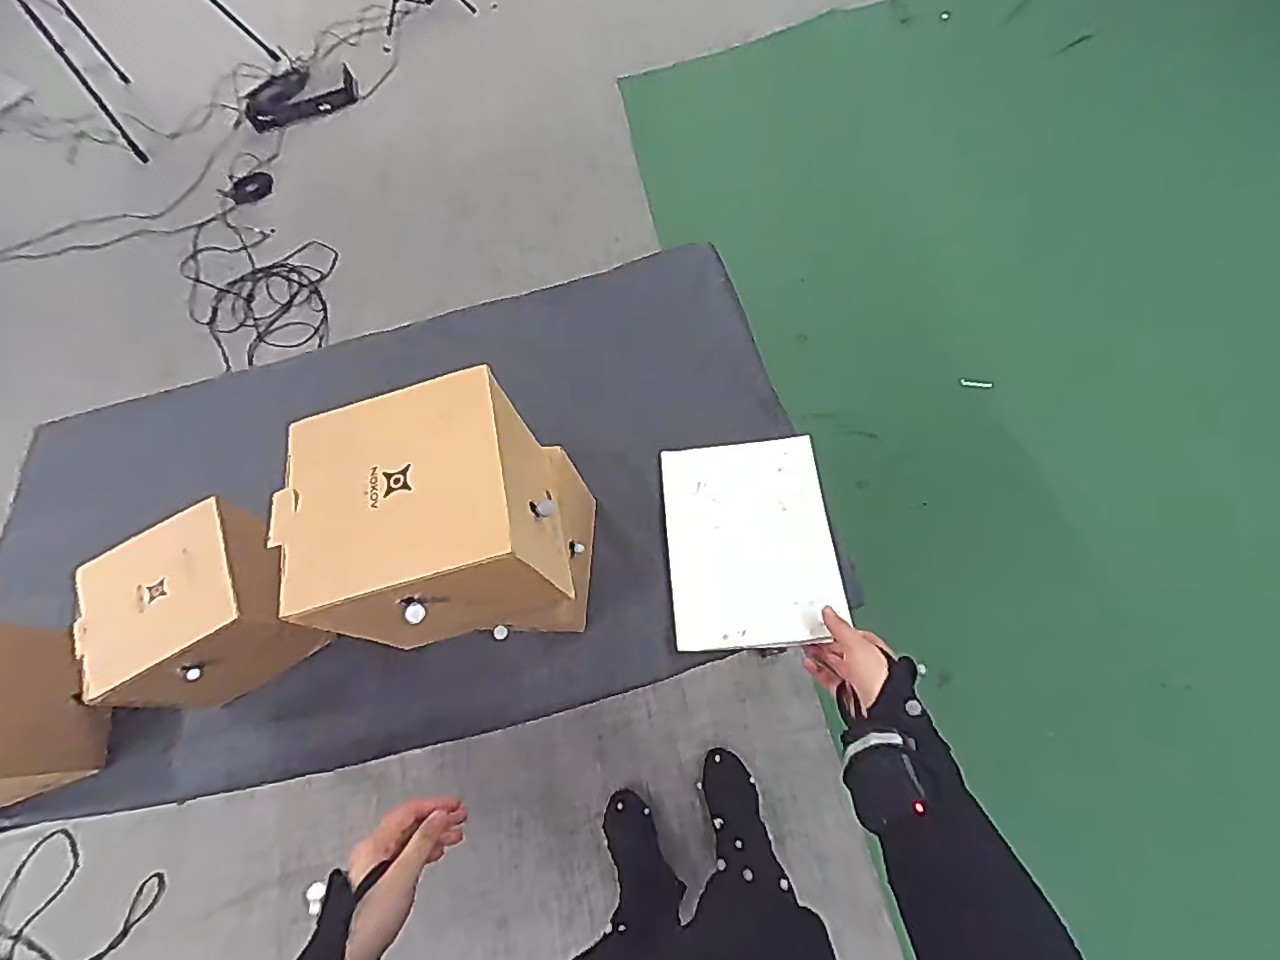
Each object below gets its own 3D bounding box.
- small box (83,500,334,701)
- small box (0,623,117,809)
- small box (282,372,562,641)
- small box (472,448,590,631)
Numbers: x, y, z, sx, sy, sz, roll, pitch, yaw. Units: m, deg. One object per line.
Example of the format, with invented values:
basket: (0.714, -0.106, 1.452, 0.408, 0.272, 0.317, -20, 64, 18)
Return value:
small box: (-0.522, 0.159, 0.673, 0.179, 0.176, 0.168, -30, 66, -4)
small box: (-0.794, 0.294, 0.659, 0.168, 0.176, 0.179, -20, 66, 0)
small box: (-0.178, 0.036, 0.486, 0.179, 0.176, 0.168, -17, 65, 3)
small box: (-0.161, 0.077, 0.644, 0.168, 0.176, 0.179, -2, 67, 10)
